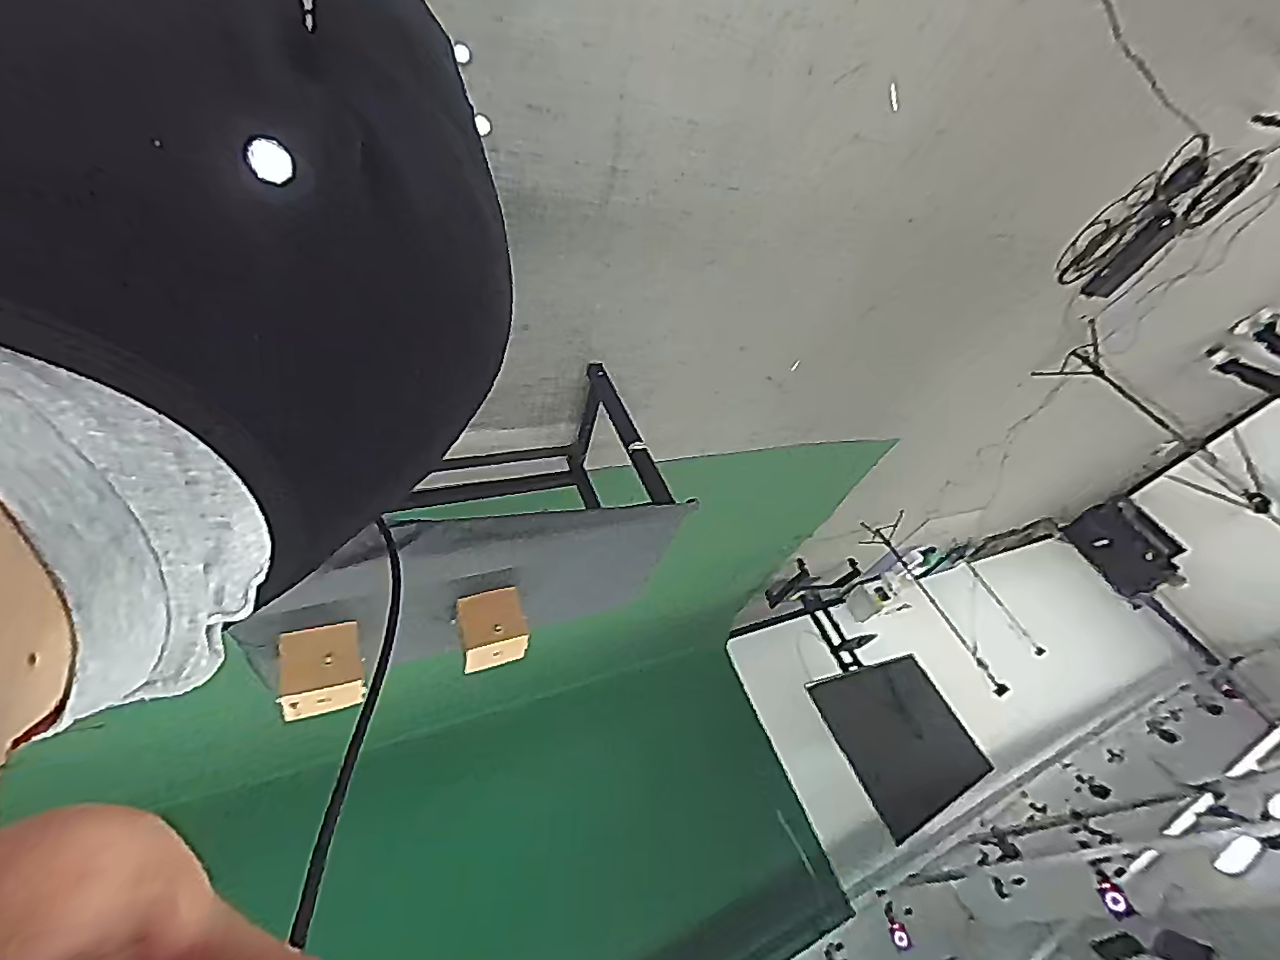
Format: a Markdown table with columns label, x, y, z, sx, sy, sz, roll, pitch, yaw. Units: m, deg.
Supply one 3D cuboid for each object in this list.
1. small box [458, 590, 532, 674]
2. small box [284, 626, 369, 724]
| label | x | y | z | sx | sy | sz | roll | pitch | yaw |
| --- | --- | --- | --- | --- | --- | --- | --- | --- | --- |
| small box | -0.439 | 0.449 | 1.620 | 0.179 | 0.176 | 0.168 | -8 | 142 | -25 |
| small box | -0.820 | 0.504 | 1.416 | 0.179 | 0.176 | 0.168 | -5 | 142 | -32 |
